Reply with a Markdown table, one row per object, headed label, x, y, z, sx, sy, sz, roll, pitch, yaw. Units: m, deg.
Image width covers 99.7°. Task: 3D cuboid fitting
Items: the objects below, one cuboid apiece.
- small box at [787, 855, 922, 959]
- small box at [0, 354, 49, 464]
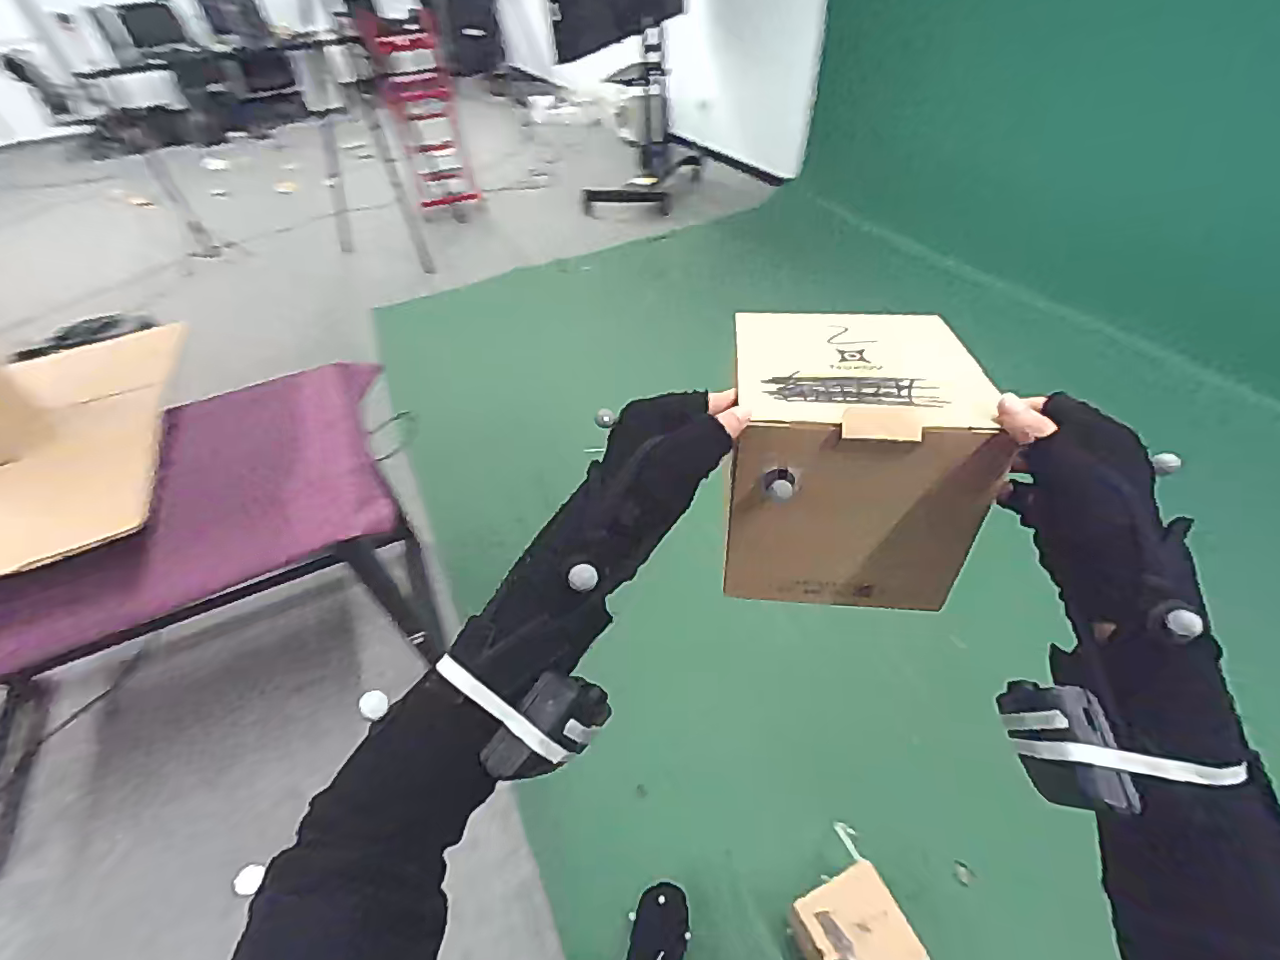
| label | x | y | z | sx | sy | sz | roll | pitch | yaw |
| --- | --- | --- | --- | --- | --- | --- | --- | --- | --- |
| small box | 0.406 | 0.883 | 1.063 | 0.179 | 0.176 | 0.168 | -19 | 48 | -14 |
| small box | -1.179 | -0.123 | 0.915 | 0.168 | 0.176 | 0.179 | -21 | 47 | -13 |
